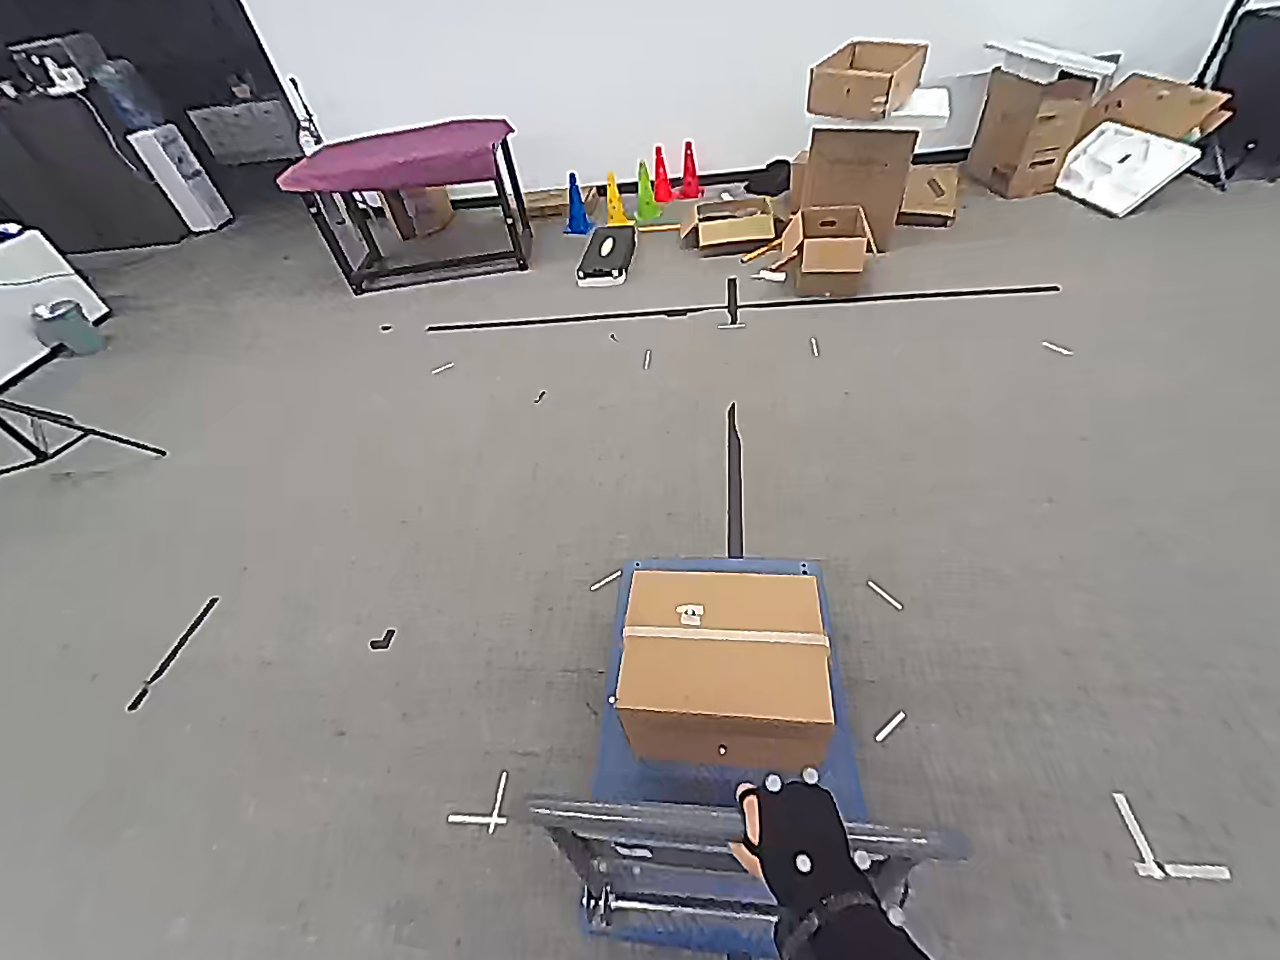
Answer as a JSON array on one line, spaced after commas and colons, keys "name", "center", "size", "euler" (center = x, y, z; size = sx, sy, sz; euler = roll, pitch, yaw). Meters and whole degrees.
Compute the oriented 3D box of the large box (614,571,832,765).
[{"name": "large box", "center": [0.182, 0.415, 1.197], "size": [0.408, 0.320, 0.320], "euler": [-1, 46, 10]}]
